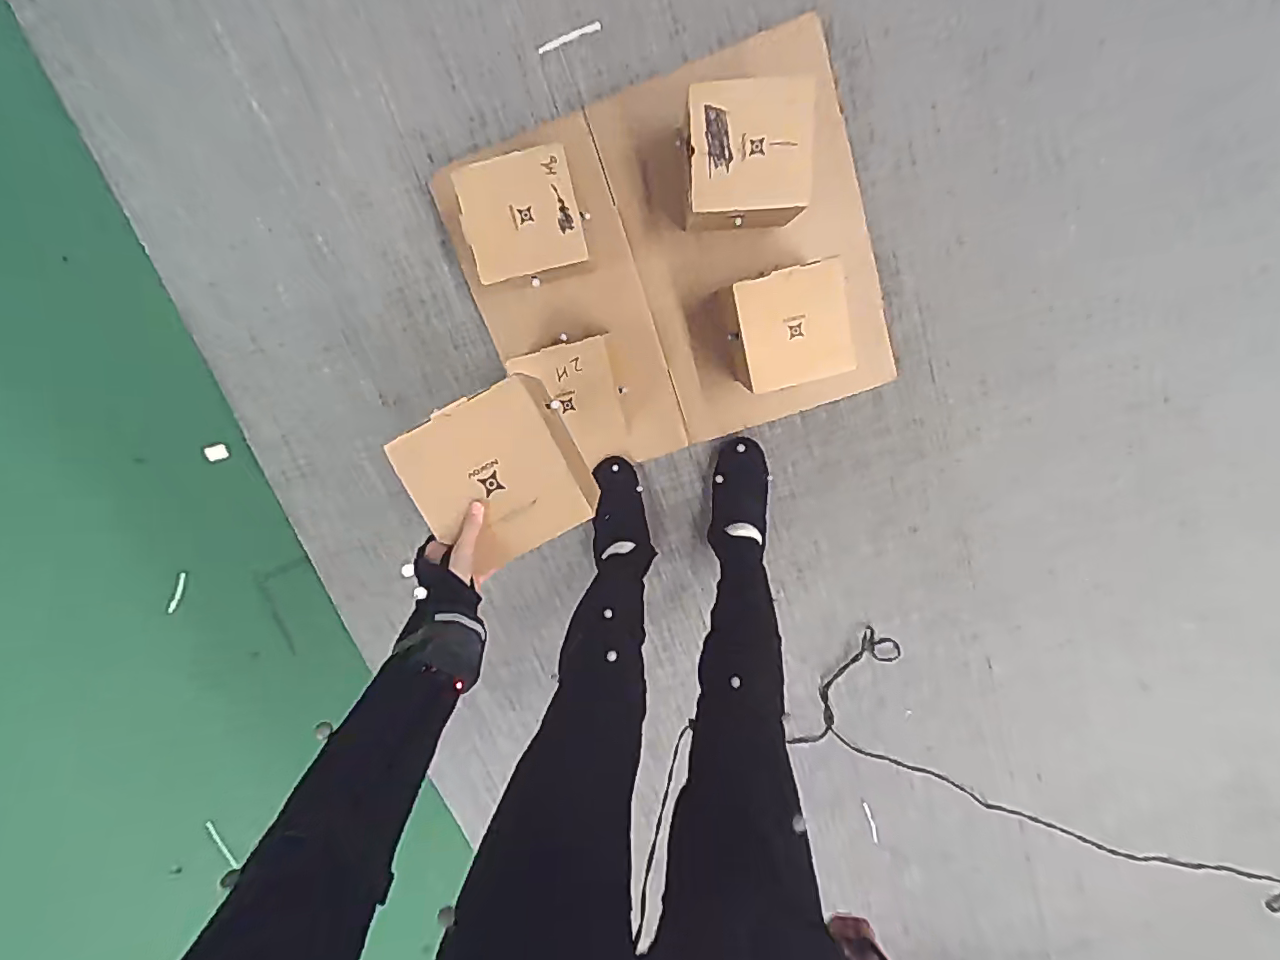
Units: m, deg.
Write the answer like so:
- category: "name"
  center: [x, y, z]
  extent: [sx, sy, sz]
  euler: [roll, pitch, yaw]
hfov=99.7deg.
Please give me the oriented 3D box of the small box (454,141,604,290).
- category: "small box"
  center: [-0.167, -0.412, 0.874]
  extent: [0.179, 0.176, 0.168]
  euler: [-11, 105, 6]

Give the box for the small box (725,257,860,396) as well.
- category: "small box"
  center: [0.245, -0.253, 0.898]
  extent: [0.168, 0.176, 0.179]
  euler: [-14, 105, 6]

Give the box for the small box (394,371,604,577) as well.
- category: "small box"
  center: [-0.153, -0.014, 0.654]
  extent: [0.168, 0.176, 0.179]
  euler: [-26, 99, 2]

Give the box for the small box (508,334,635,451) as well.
- category: "small box"
  center: [-0.108, -0.151, 0.948]
  extent: [0.168, 0.176, 0.179]
  euler: [-12, 105, 6]

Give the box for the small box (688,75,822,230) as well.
- category: "small box"
  center: [0.164, -0.488, 0.831]
  extent: [0.179, 0.176, 0.168]
  euler: [-2, 107, 2]
